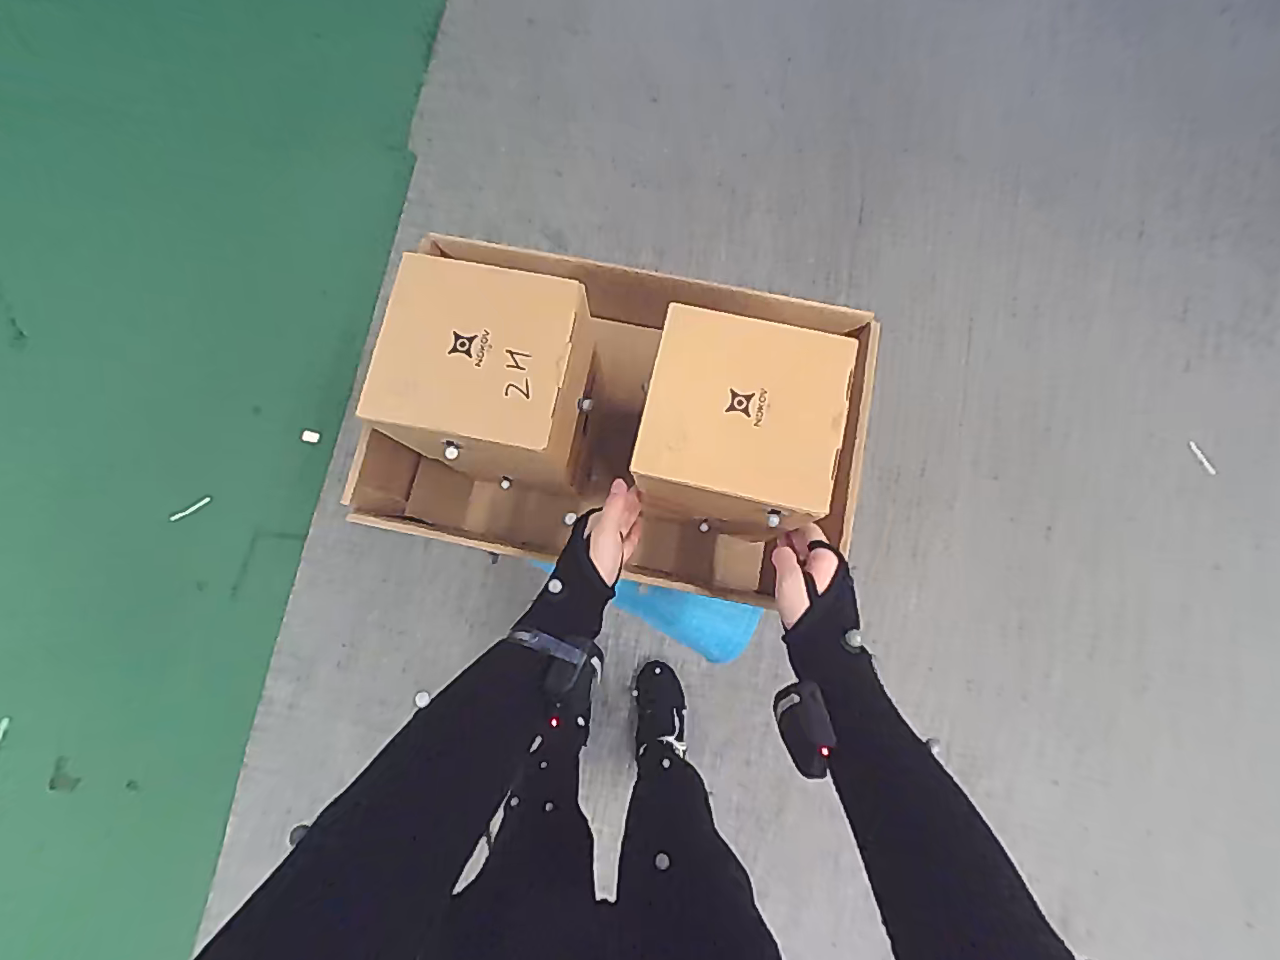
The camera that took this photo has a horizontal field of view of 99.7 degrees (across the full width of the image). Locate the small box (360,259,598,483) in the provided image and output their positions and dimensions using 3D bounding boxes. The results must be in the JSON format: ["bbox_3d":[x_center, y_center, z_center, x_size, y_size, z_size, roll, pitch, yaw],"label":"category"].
[{"bbox_3d":[-0.150,-0.101,0.570,0.179,0.176,0.168,11,80,2],"label":"small box"}]

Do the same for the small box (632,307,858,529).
[{"bbox_3d":[0.098,-0.050,0.557,0.179,0.176,0.168,13,80,4],"label":"small box"}]
